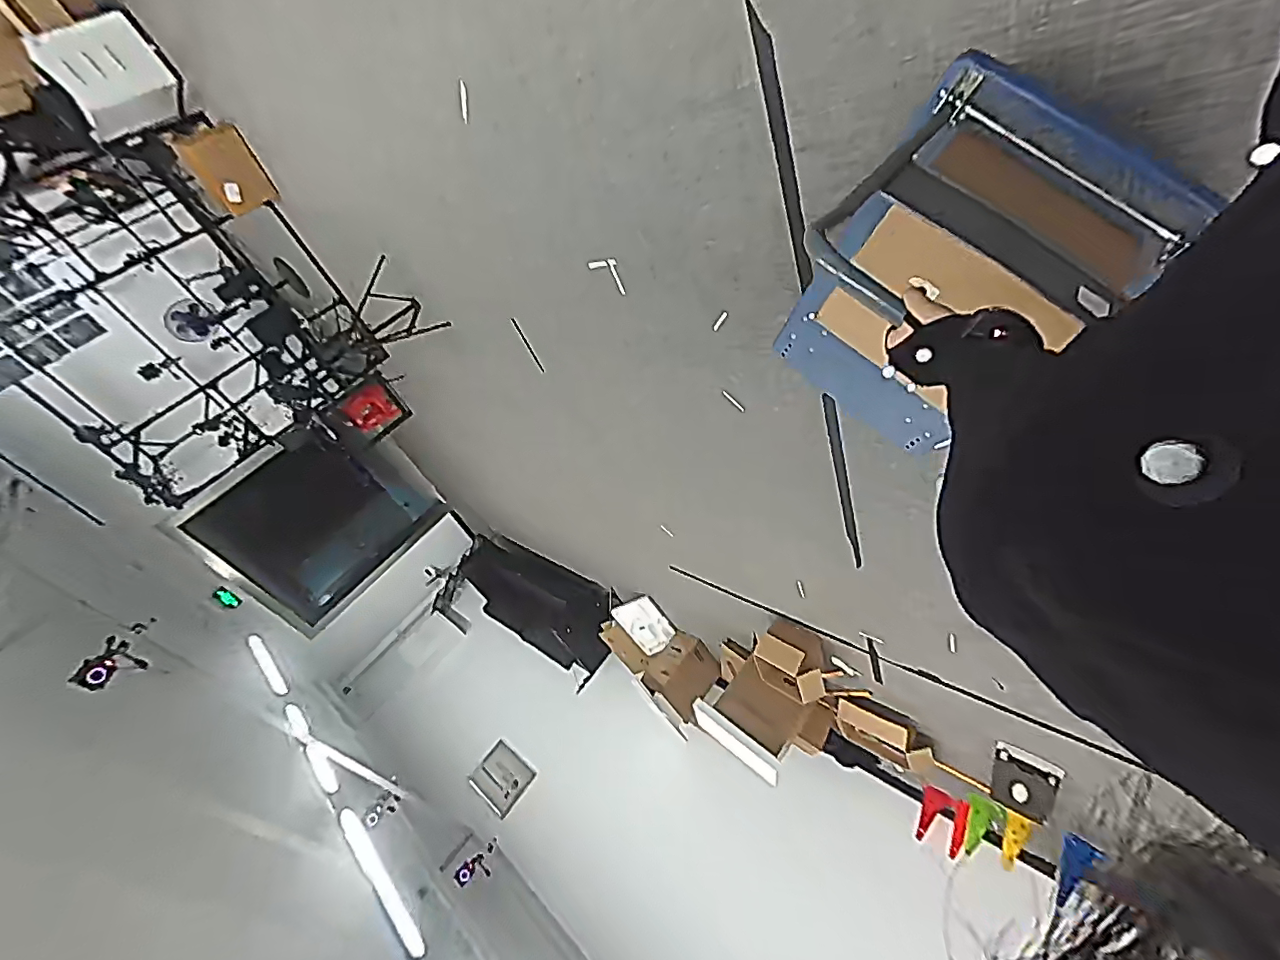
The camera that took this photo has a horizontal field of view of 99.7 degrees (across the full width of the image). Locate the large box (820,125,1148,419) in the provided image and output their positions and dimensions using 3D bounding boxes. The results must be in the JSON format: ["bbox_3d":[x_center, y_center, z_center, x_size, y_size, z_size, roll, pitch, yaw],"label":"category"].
[{"bbox_3d":[0.662,-0.406,1.082,0.408,0.320,0.320,39,154,8],"label":"large box"}]
